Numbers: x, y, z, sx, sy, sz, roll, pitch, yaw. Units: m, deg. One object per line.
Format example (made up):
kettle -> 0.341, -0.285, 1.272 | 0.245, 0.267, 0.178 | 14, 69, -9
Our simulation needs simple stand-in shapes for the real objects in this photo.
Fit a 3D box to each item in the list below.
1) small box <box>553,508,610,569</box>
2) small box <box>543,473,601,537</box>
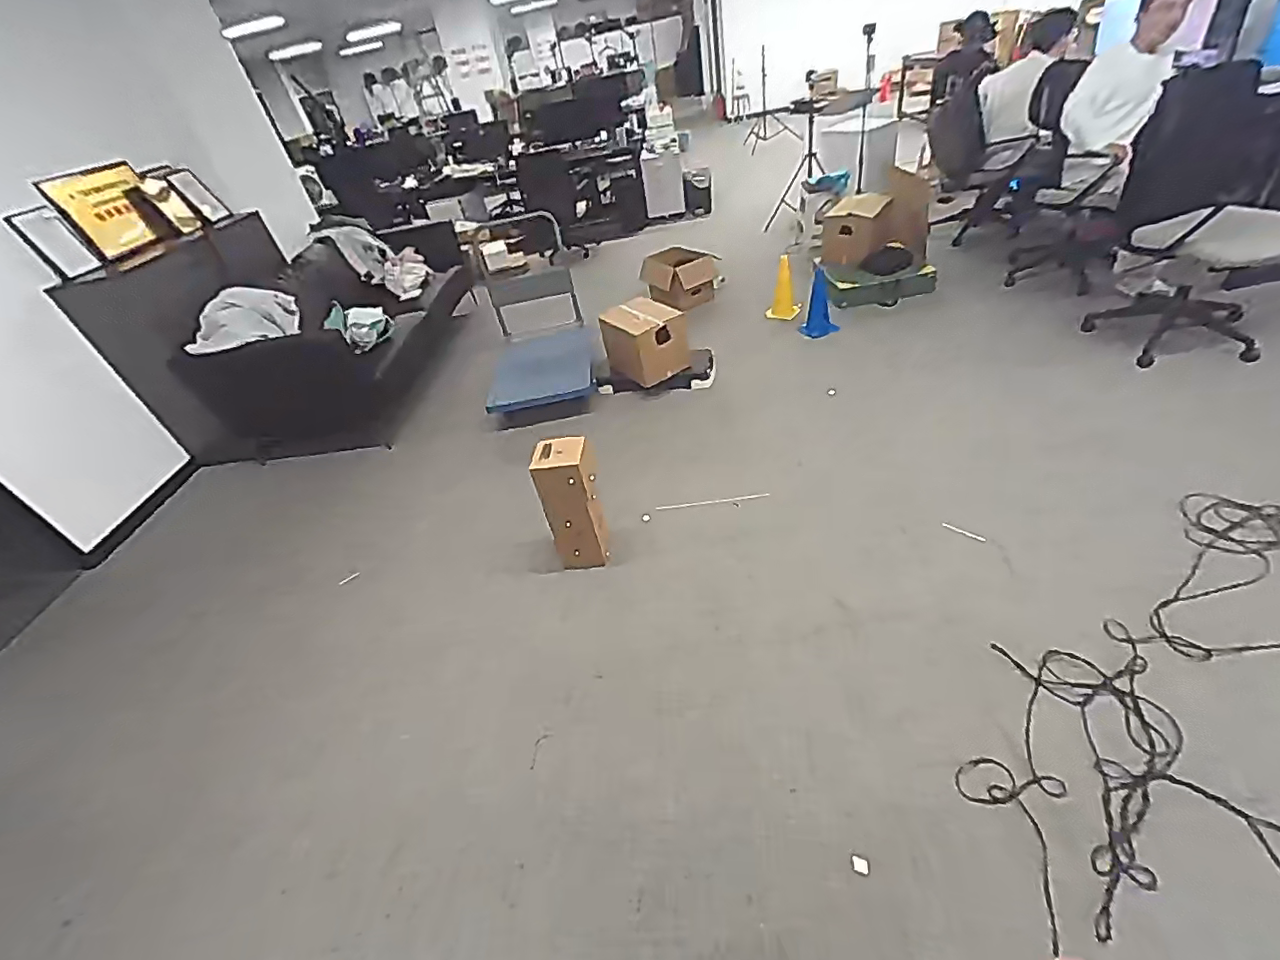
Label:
small box -> -0.221, 0.227, 2.099 | 0.179, 0.176, 0.168 | -7, 39, 9
small box -> -0.244, 0.099, 1.998 | 0.168, 0.176, 0.179 | -6, 39, 8
